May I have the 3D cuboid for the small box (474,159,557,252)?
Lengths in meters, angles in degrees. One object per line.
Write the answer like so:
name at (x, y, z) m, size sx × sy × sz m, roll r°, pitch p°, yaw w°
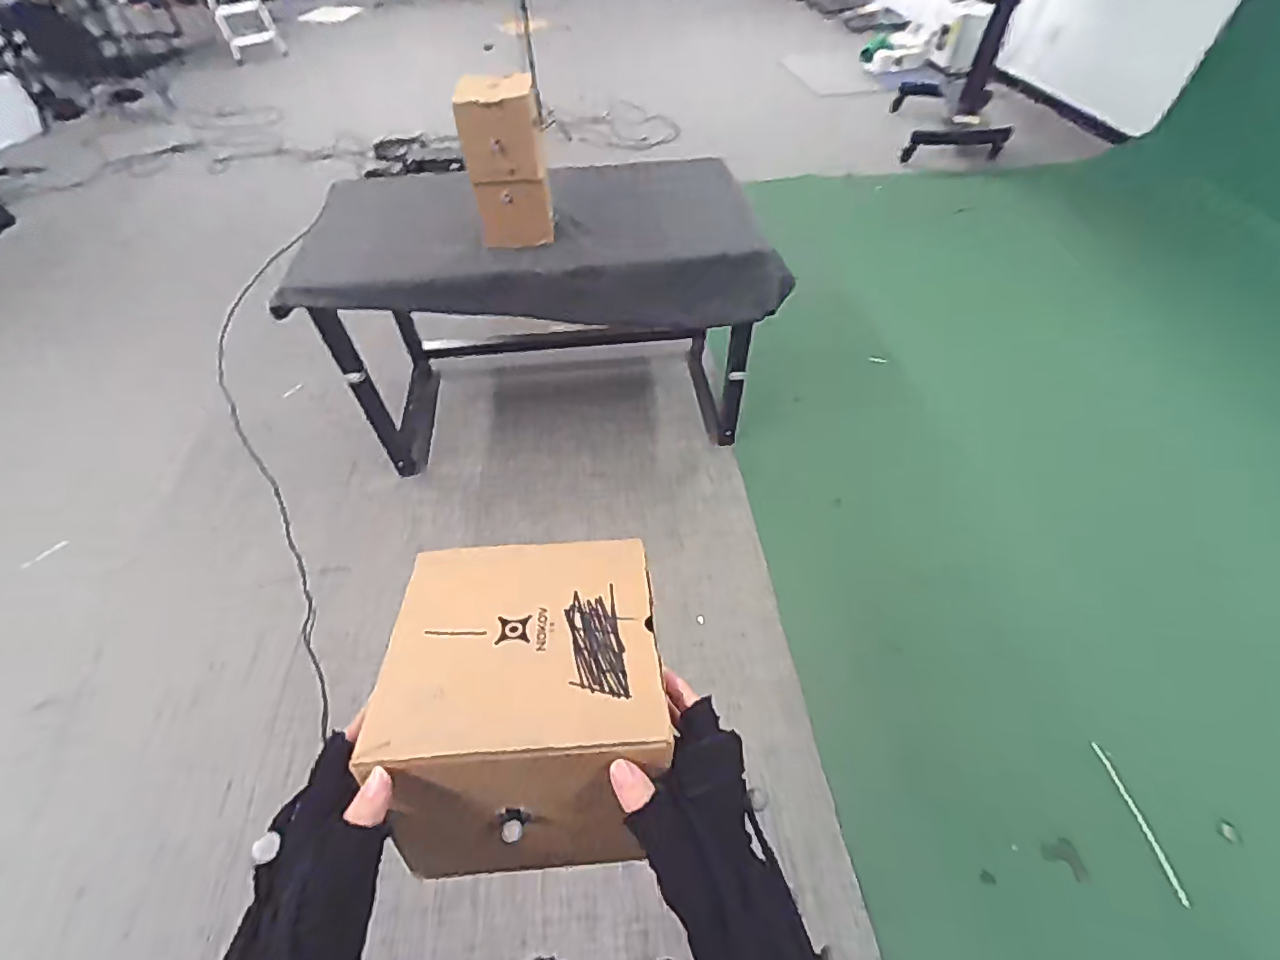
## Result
small box at (-0.315, -0.709, 1.403) m, size 0.179 × 0.176 × 0.168 m, roll -3°, pitch 51°, yaw -3°

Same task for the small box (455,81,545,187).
small box at (-0.320, -0.811, 1.274) m, size 0.168 × 0.176 × 0.179 m, roll -3°, pitch 51°, yaw -2°
